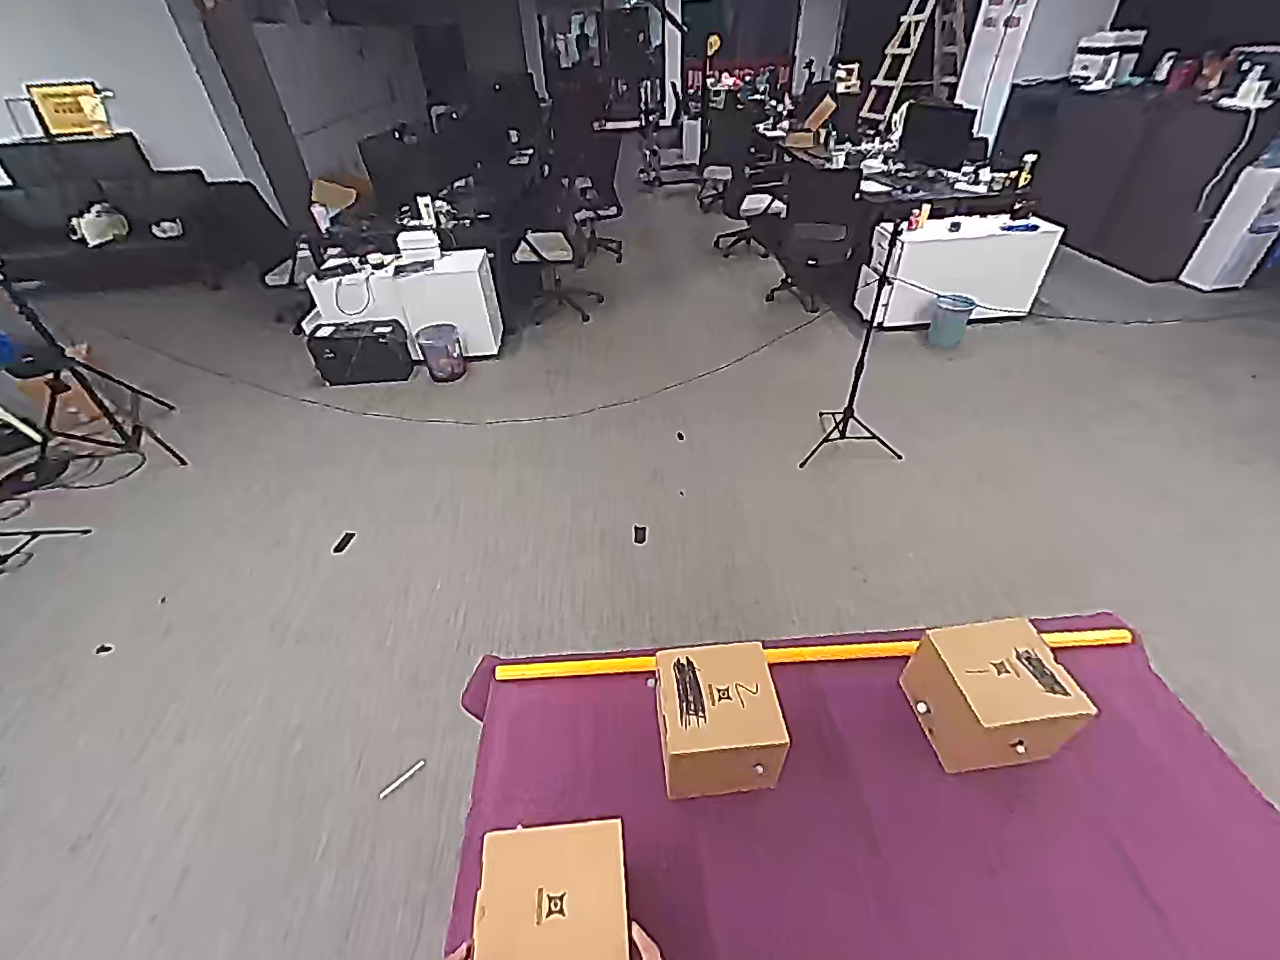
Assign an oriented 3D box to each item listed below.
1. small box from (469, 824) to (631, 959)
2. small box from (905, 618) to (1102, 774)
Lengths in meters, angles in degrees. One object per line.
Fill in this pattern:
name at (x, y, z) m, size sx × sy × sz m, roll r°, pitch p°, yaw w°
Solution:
small box at (-0.101, 0.553, 0.668) m, size 0.179 × 0.176 × 0.168 m, roll -5°, pitch 40°, yaw -3°
small box at (0.563, 0.346, 0.868) m, size 0.179 × 0.176 × 0.168 m, roll -7°, pitch 41°, yaw -3°
